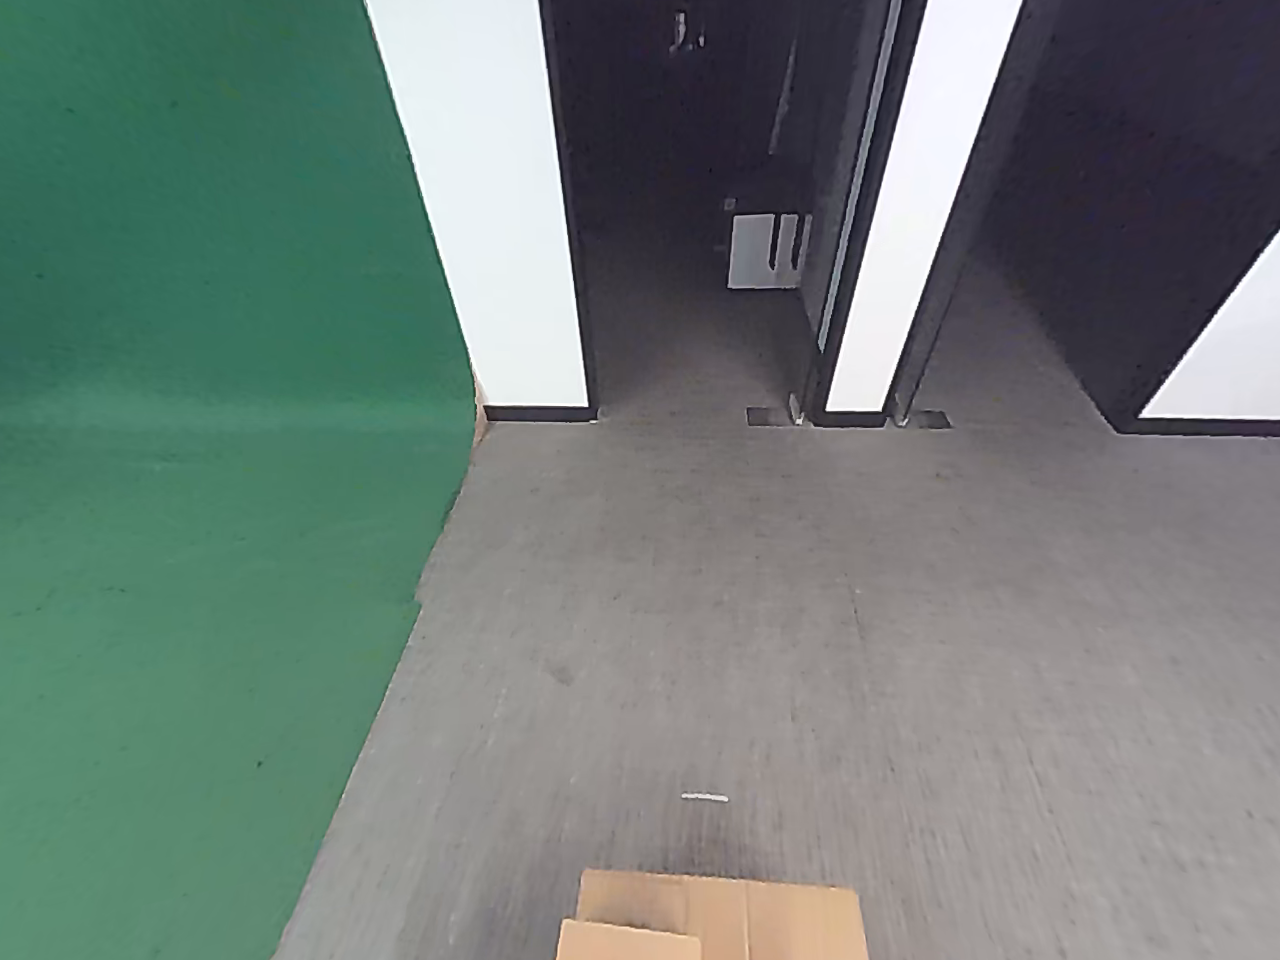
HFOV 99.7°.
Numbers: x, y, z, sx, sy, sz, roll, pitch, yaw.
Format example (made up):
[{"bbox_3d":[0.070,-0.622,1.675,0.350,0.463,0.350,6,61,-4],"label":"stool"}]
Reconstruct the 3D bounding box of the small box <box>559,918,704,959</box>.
[{"bbox_3d":[-0.016,0.638,0.625,0.168,0.176,0.179,4,45,4],"label":"small box"}]
